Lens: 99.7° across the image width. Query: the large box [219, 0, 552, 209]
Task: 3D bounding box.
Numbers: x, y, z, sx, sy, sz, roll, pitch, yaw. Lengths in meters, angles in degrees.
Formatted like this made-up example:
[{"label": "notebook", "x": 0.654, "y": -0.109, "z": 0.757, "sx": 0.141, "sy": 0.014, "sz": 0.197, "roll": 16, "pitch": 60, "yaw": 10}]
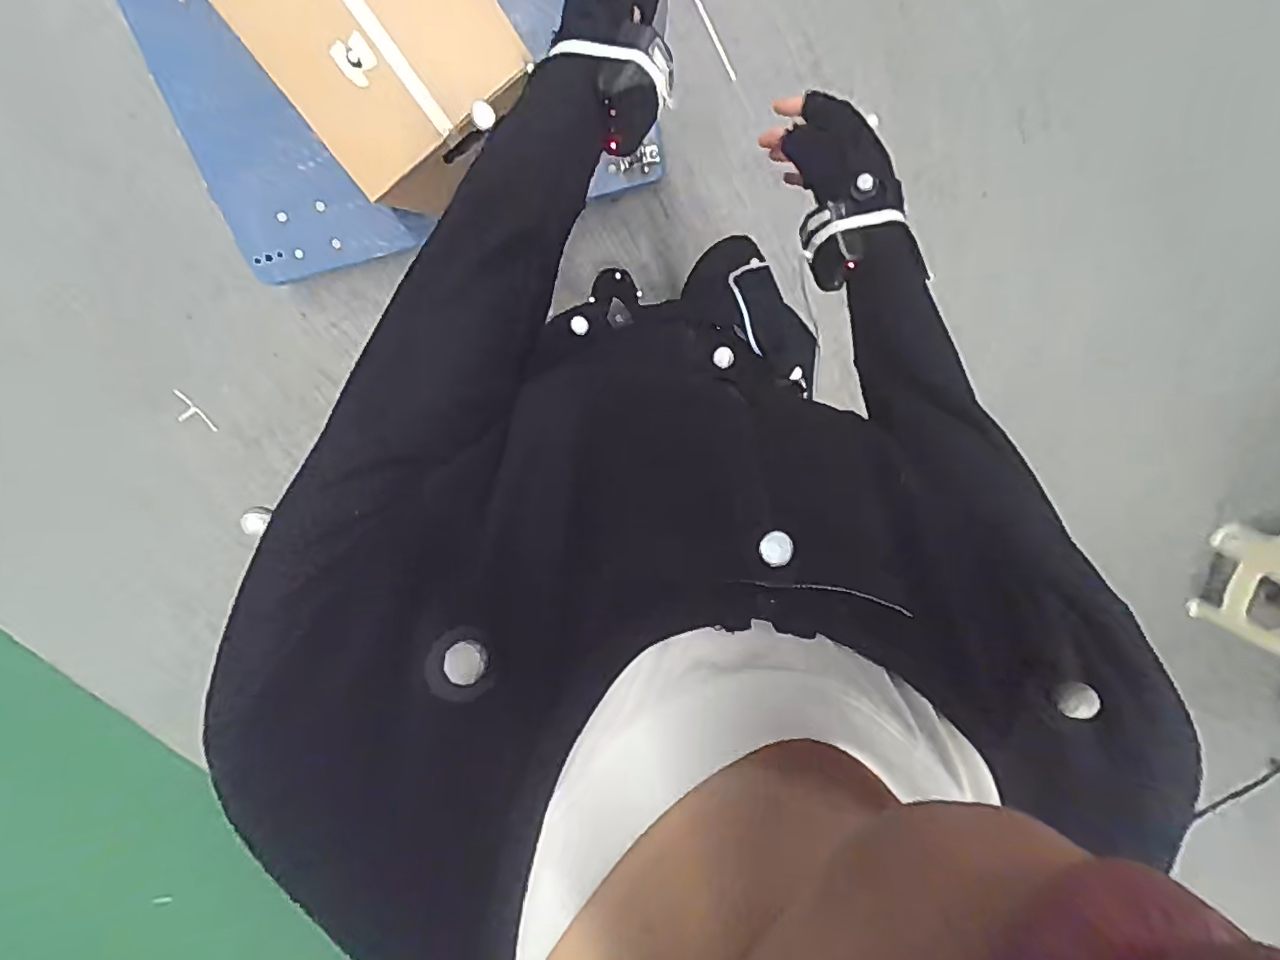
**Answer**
[{"label": "large box", "x": -0.391, "y": -0.713, "z": 0.858, "sx": 0.320, "sy": 0.320, "sz": 0.408, "roll": -34, "pitch": 111, "yaw": 11}]
